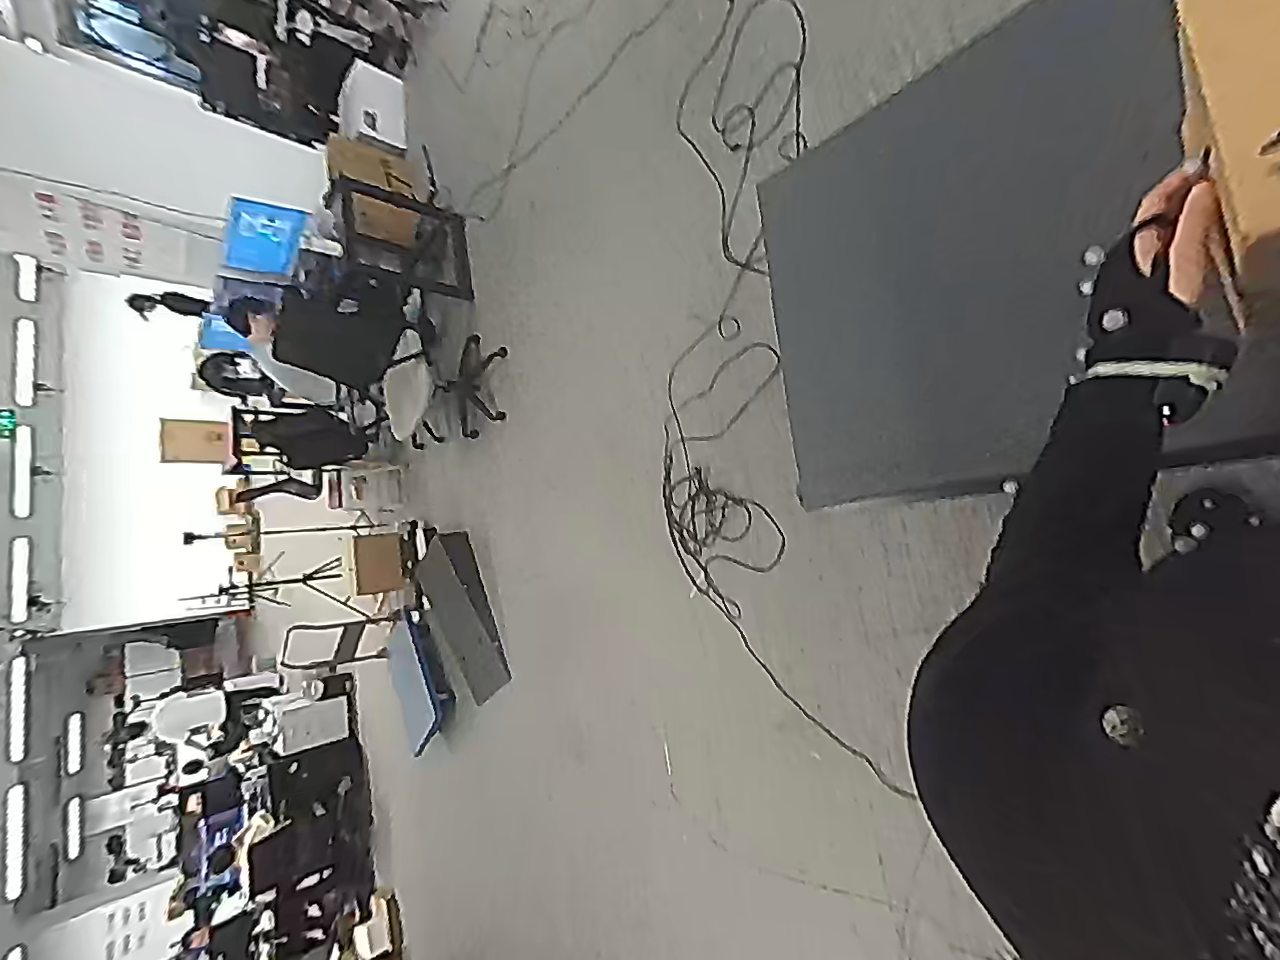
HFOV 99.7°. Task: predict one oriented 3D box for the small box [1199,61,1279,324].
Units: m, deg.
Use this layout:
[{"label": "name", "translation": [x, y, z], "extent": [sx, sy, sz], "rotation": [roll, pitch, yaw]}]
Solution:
[{"label": "small box", "translation": [0.589, -0.247, 0.433], "extent": [0.168, 0.176, 0.179], "rotation": [-20, 75, 47]}]
